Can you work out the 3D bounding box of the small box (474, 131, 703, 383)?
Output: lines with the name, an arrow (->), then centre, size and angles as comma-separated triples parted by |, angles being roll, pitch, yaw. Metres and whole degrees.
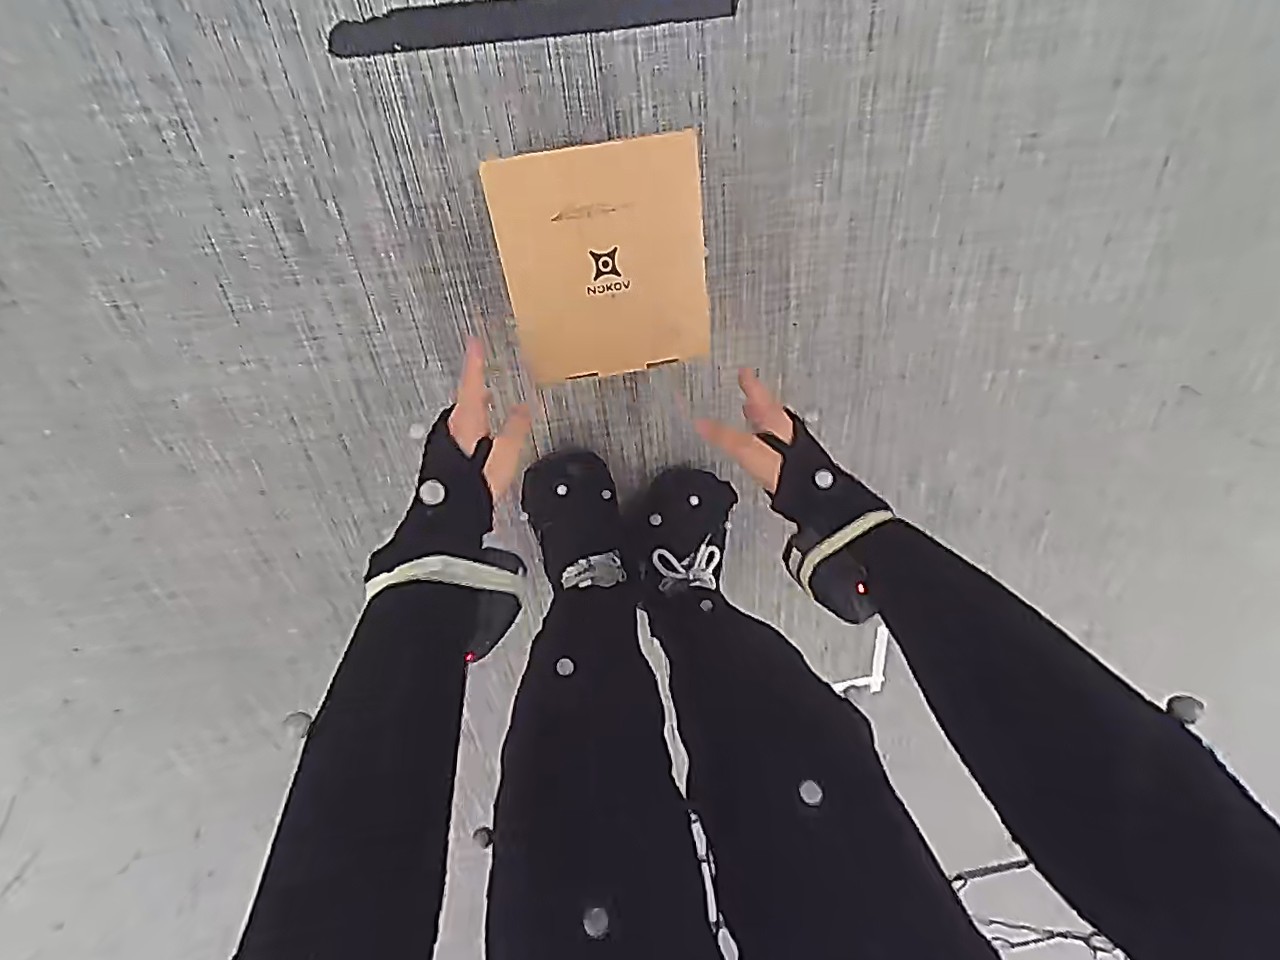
small box -> -0.043, -0.212, 0.510 | 0.168, 0.176, 0.179 | -11, 119, -4
